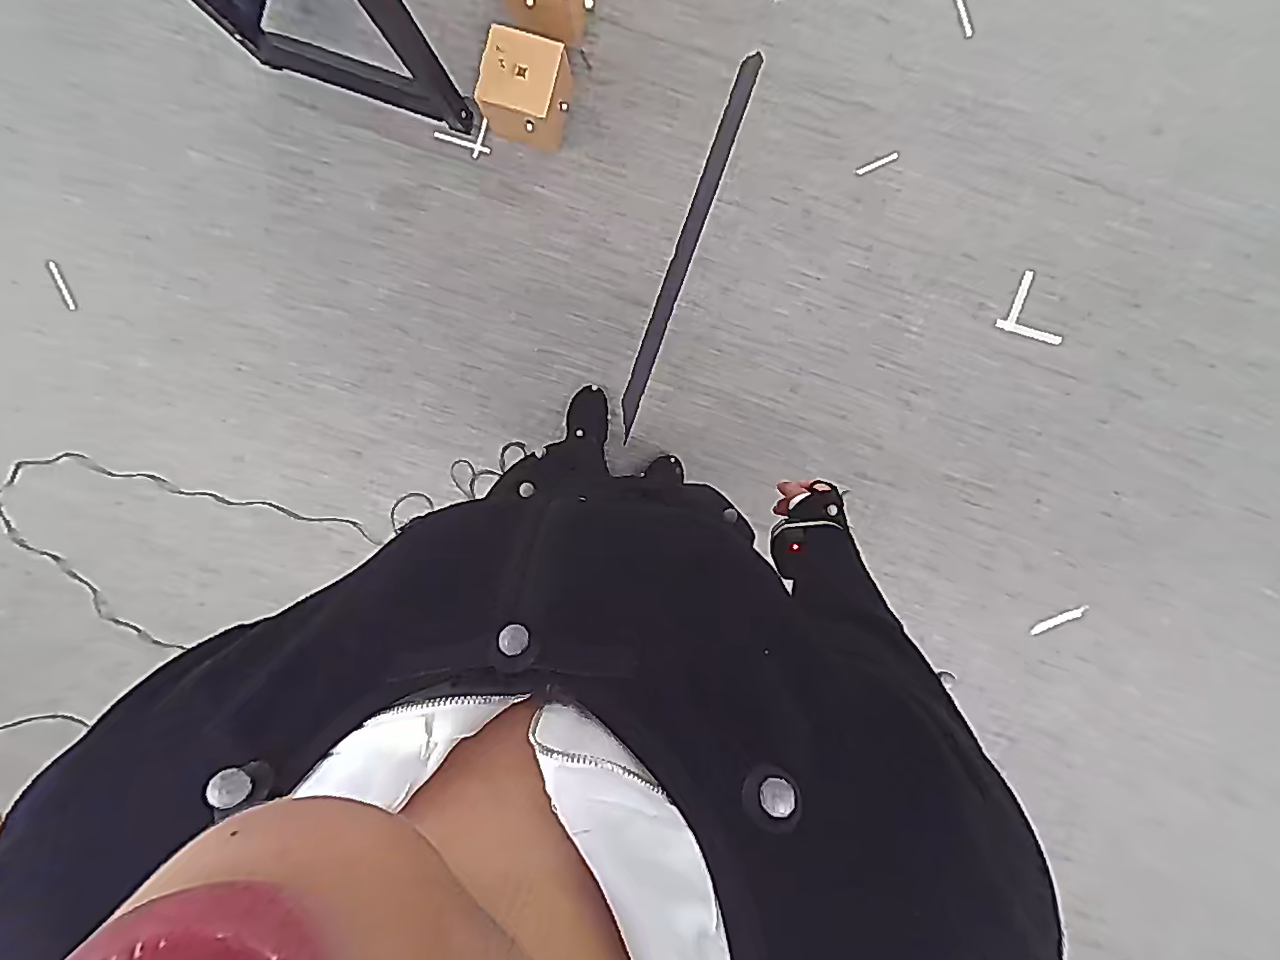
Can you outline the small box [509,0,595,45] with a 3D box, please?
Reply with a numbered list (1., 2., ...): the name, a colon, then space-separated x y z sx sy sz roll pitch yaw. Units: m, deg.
1. small box: -0.213 -1.192 1.287 0.179 0.176 0.168 18 97 -1
